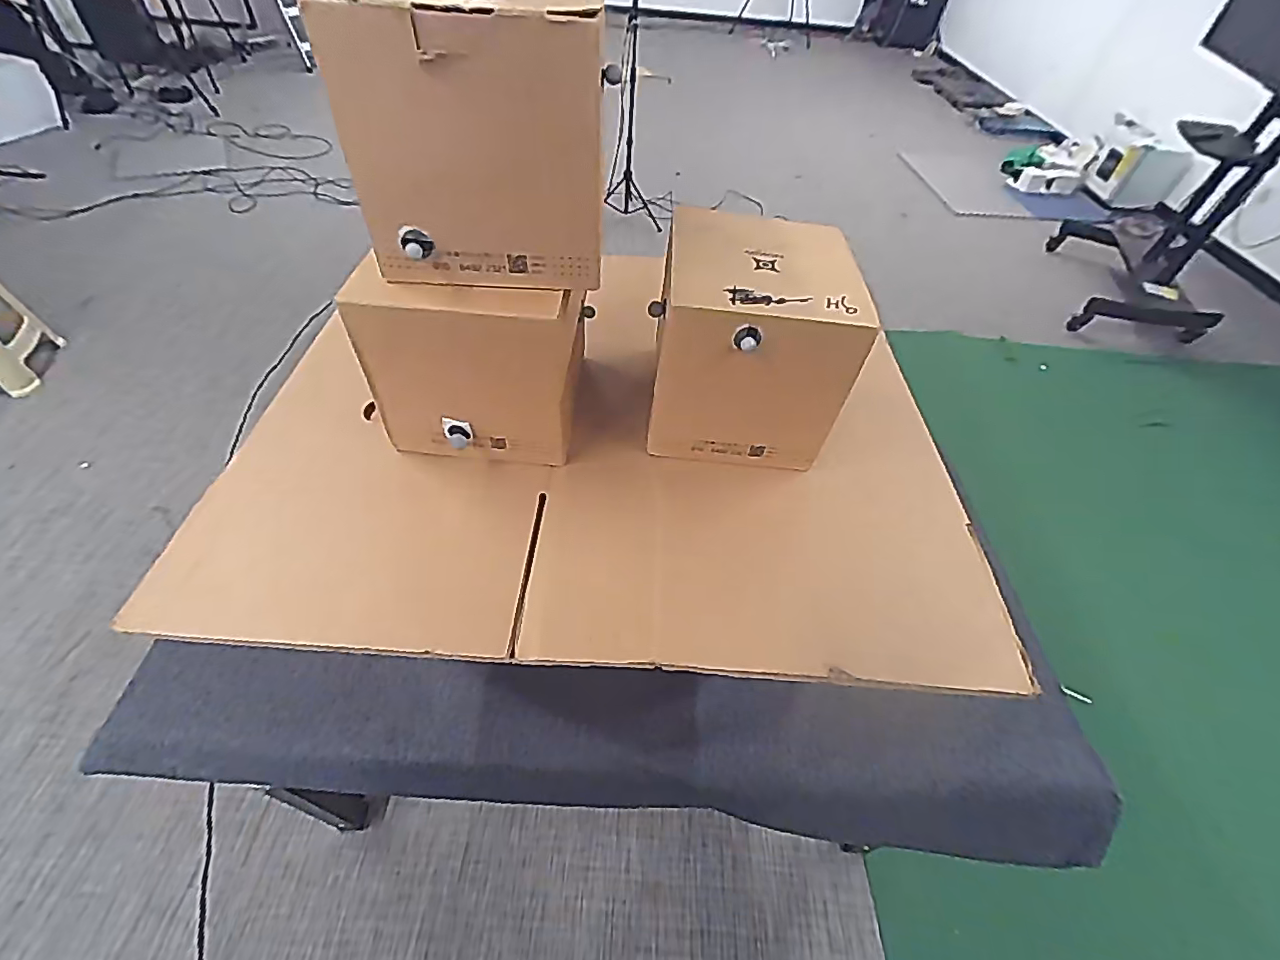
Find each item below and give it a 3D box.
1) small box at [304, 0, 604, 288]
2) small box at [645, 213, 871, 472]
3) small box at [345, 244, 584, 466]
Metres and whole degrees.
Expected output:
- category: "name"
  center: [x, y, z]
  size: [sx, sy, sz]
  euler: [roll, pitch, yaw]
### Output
- category: "small box"
  center: [-0.113, -0.266, 0.419]
  size: [0.168, 0.176, 0.179]
  euler: [2, 48, -4]
- category: "small box"
  center: [0.097, -0.133, 0.533]
  size: [0.168, 0.176, 0.179]
  euler: [6, 49, -2]
- category: "small box"
  center: [-0.144, -0.137, 0.522]
  size: [0.168, 0.176, 0.179]
  euler: [4, 51, -1]
